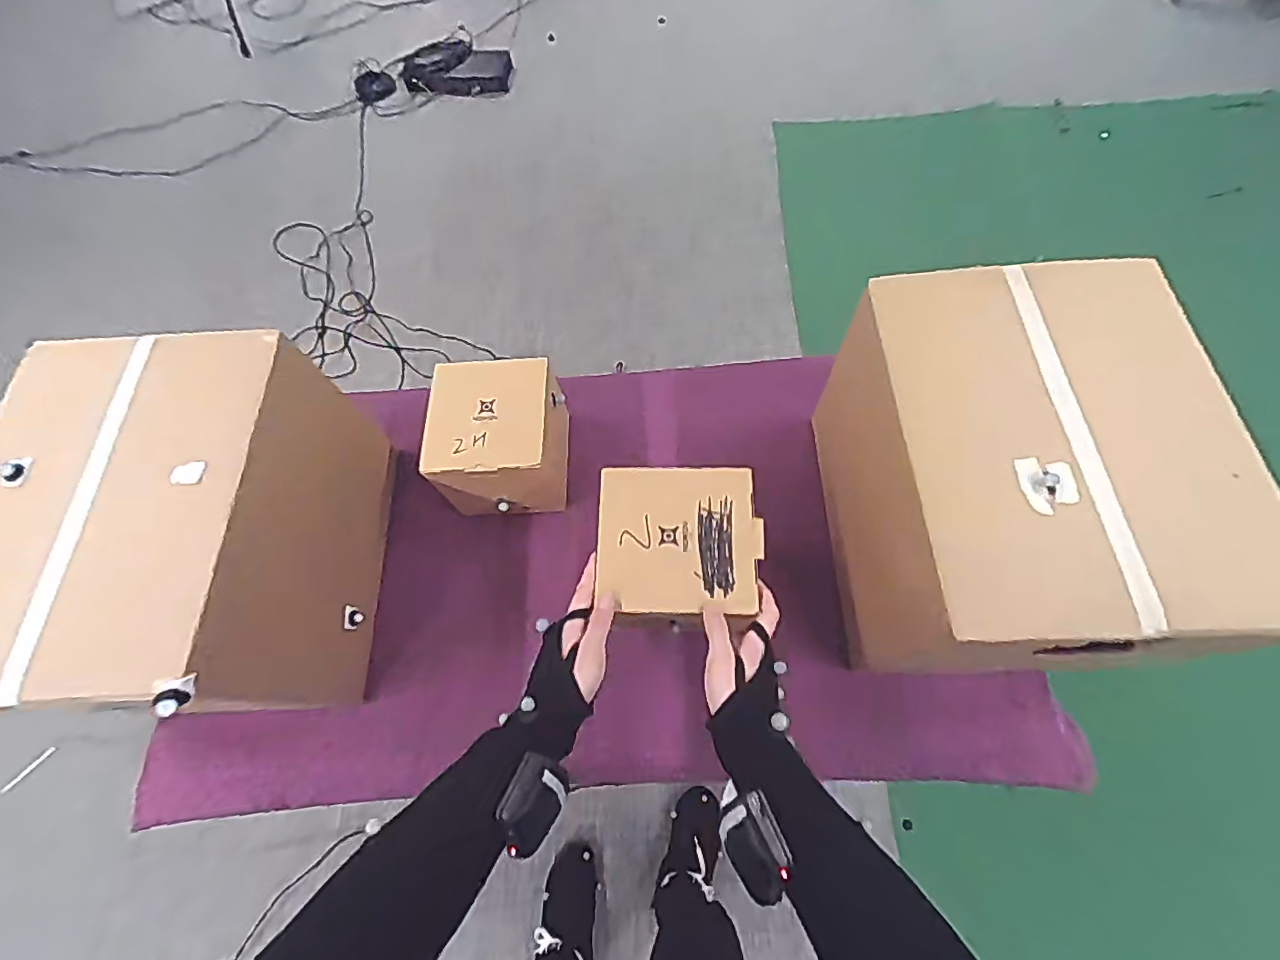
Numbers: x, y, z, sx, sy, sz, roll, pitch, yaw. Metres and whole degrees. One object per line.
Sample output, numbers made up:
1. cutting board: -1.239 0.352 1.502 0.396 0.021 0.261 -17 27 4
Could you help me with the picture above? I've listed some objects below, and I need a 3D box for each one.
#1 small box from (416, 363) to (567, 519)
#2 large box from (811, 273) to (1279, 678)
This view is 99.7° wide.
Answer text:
1. small box: -0.206 -0.053 0.807 0.168 0.176 0.179 -2 65 3
2. large box: 0.423 0.017 0.660 0.320 0.320 0.408 -3 66 4
